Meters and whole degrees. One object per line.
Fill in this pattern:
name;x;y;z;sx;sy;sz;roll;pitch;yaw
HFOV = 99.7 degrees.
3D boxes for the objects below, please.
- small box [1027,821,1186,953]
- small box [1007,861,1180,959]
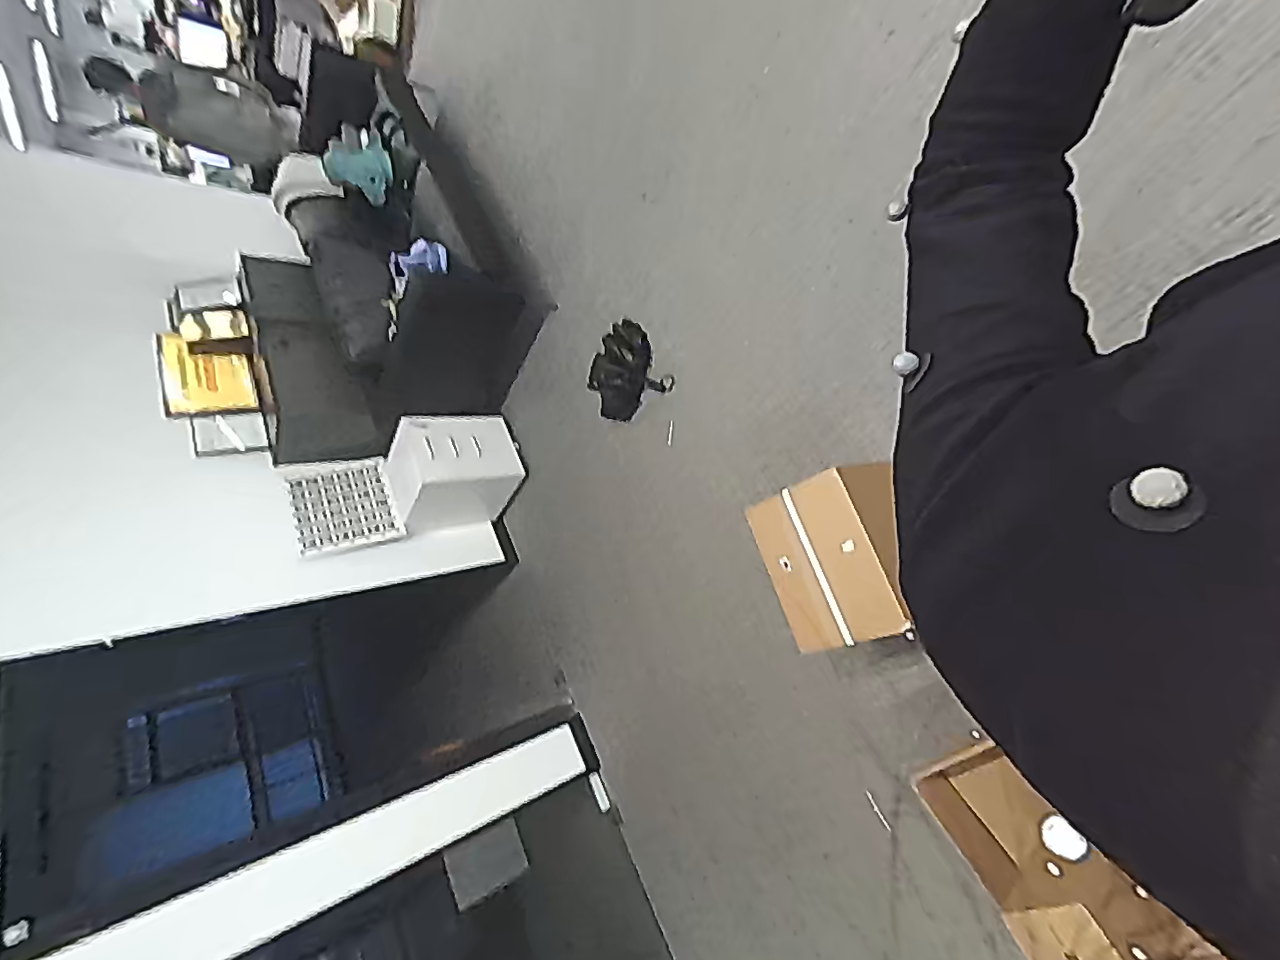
small box;0.956;0.845;1.108;0.168;0.176;0.179;-55;53;37
small box;0.836;0.849;0.995;0.168;0.176;0.179;-53;55;39
